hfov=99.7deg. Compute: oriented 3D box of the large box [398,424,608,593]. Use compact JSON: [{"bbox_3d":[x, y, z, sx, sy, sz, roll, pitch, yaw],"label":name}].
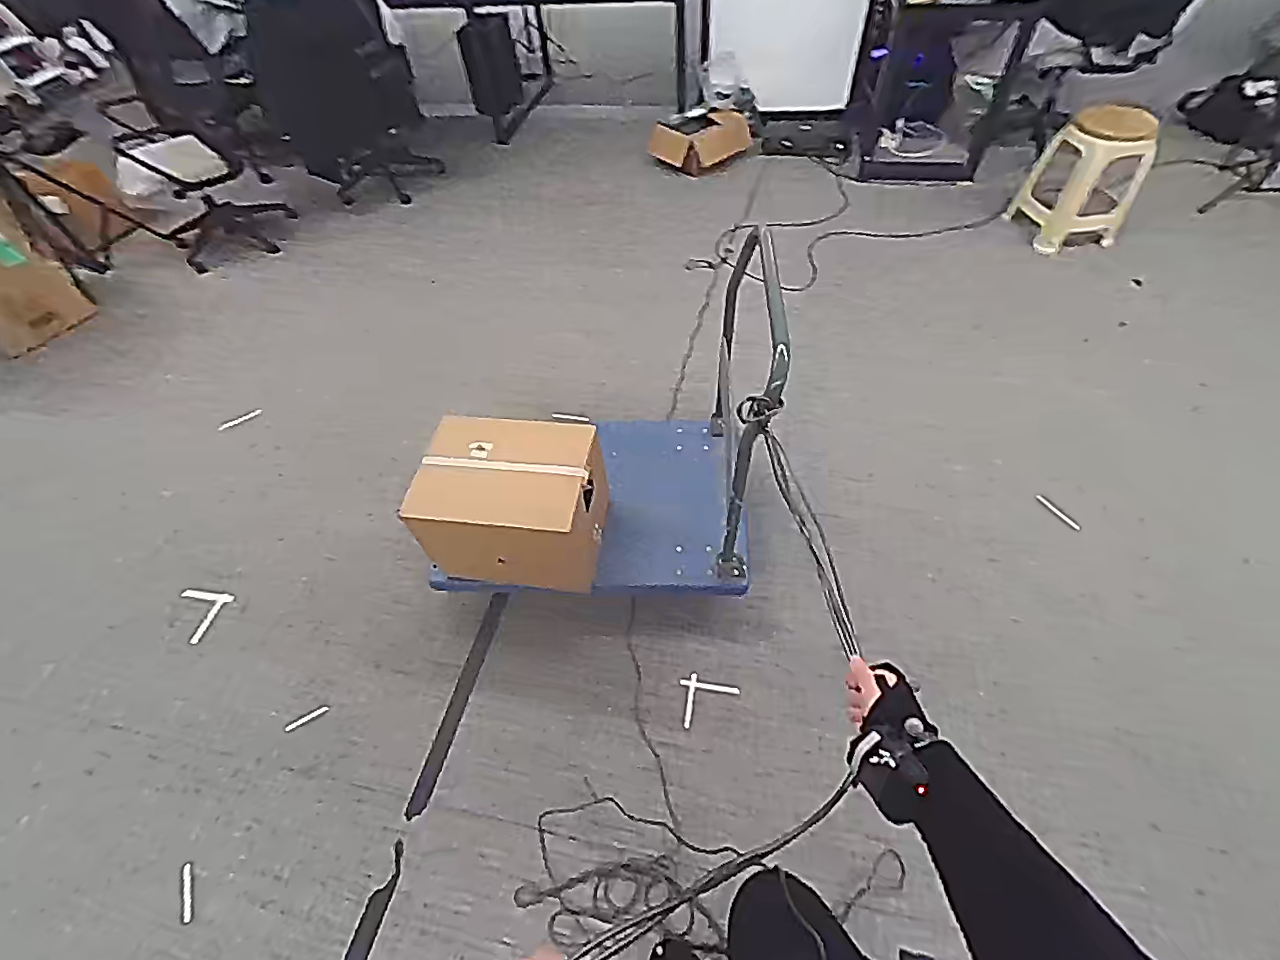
[{"bbox_3d":[-0.314,0.076,1.384,0.408,0.320,0.320,4,53,8],"label":"large box"}]
